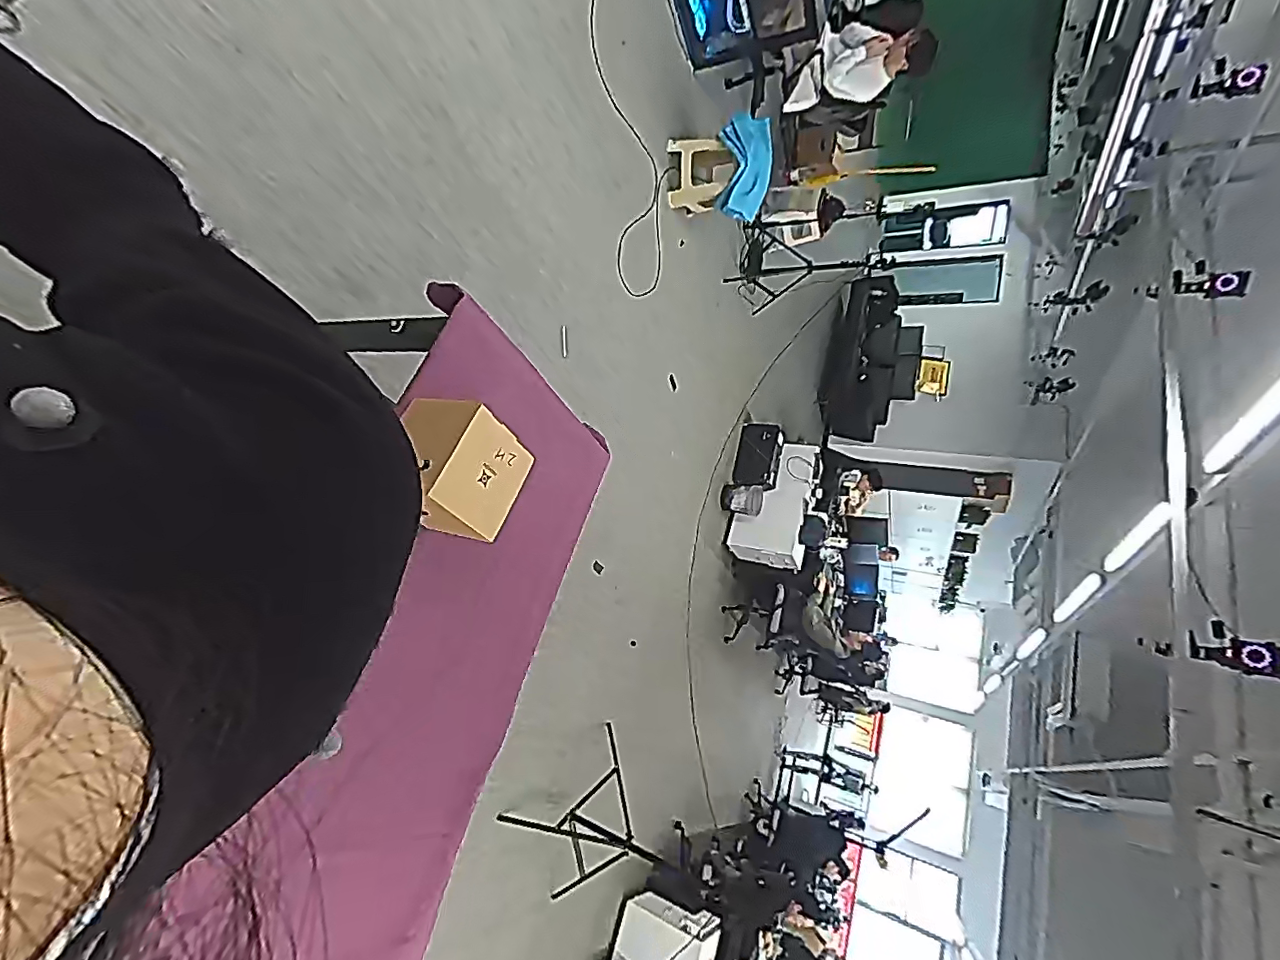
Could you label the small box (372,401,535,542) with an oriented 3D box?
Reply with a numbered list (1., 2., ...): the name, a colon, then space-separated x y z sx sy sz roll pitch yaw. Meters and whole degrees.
1. small box: -0.319 -0.018 0.924 0.168 0.176 0.179 56 49 -51
